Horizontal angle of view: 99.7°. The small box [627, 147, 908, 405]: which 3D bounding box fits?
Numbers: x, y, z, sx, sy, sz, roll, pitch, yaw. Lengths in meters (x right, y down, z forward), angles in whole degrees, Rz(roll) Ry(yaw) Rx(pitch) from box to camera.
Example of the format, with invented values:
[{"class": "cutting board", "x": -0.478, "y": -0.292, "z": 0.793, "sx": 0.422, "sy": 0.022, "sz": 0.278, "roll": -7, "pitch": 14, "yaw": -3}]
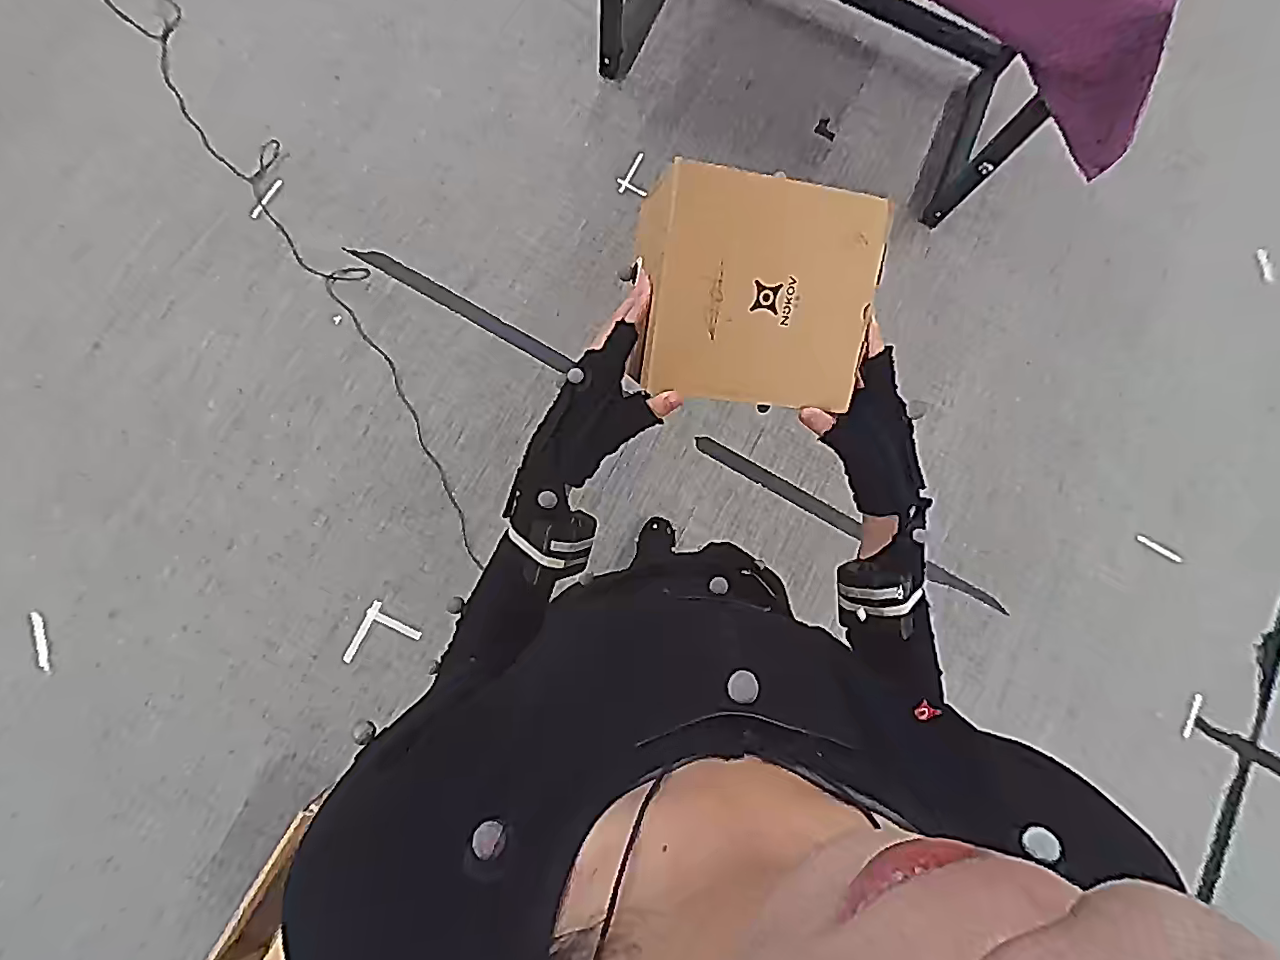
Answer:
[{"class": "small box", "x": 0.093, "y": -0.167, "z": 0.481, "sx": 0.179, "sy": 0.176, "sz": 0.168, "roll": 4, "pitch": 105, "yaw": -10}]
